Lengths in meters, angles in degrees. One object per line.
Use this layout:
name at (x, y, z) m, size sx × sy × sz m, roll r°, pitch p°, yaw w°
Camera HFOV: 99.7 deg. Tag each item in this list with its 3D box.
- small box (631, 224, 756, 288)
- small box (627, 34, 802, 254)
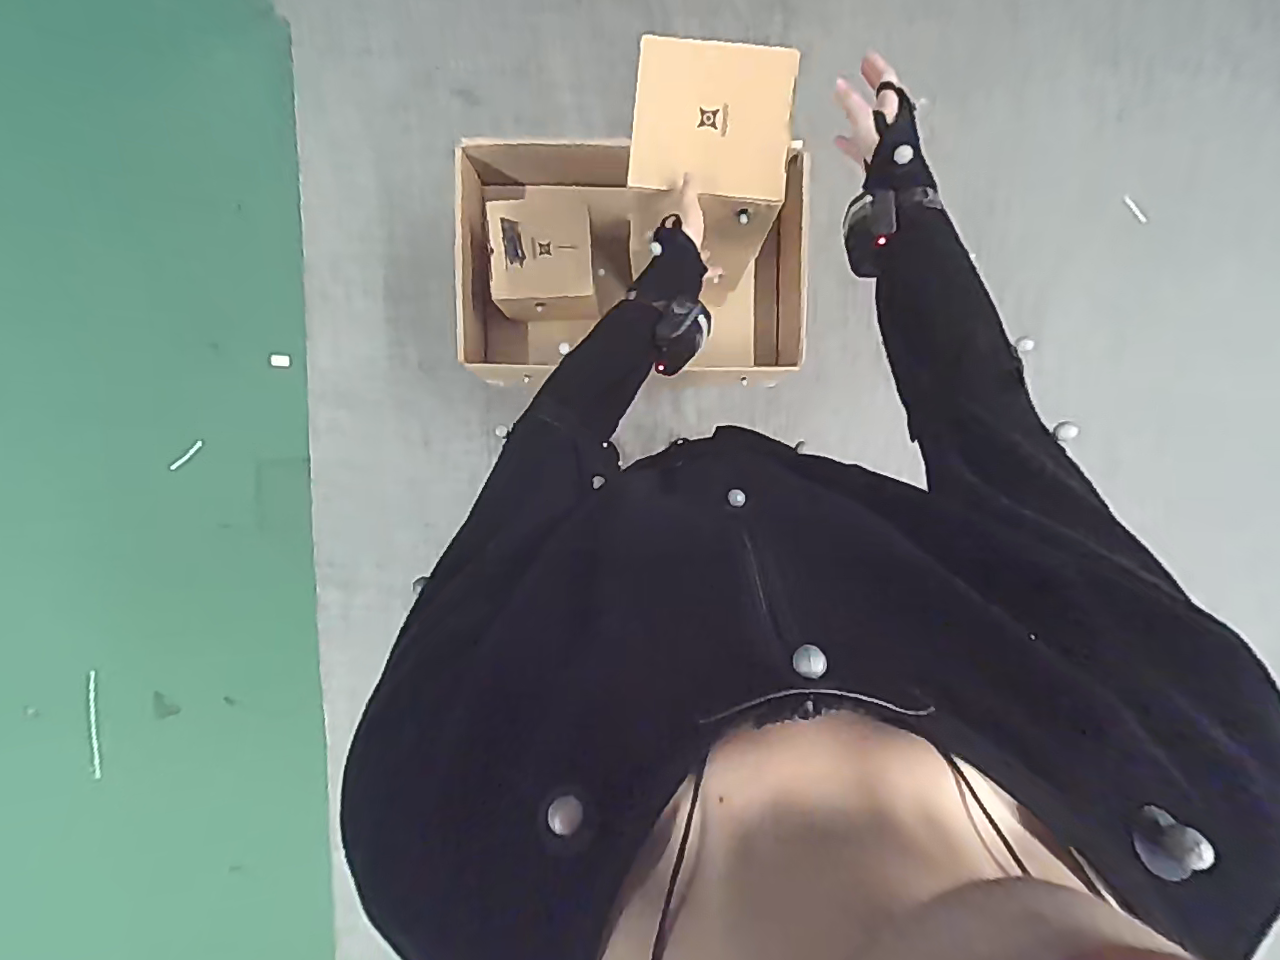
small box at (0.083, -0.403, 0.827) m, size 0.179 × 0.176 × 0.168 m, roll 5°, pitch 93°, yaw 2°
small box at (0.083, -0.395, 0.665) m, size 0.179 × 0.176 × 0.168 m, roll 6°, pitch 93°, yaw 1°
